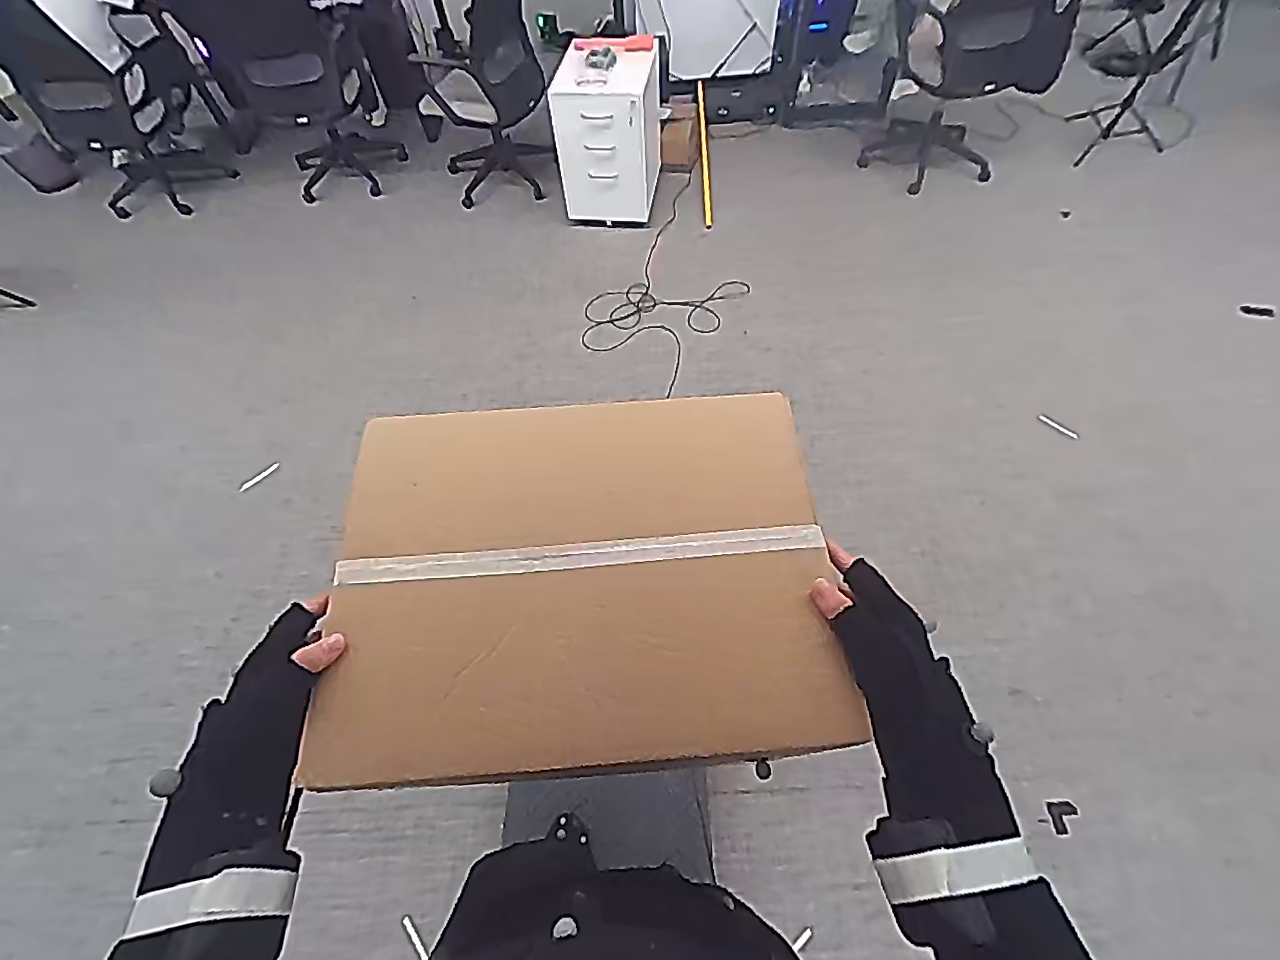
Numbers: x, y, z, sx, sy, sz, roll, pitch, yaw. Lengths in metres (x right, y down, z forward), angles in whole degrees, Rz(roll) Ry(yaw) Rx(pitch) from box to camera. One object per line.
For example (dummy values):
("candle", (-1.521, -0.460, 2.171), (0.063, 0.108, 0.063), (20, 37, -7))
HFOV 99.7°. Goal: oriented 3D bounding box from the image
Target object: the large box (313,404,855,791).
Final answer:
("large box", (-0.047, 0.142, 0.592), (0.408, 0.320, 0.320), (-3, 60, -2))
